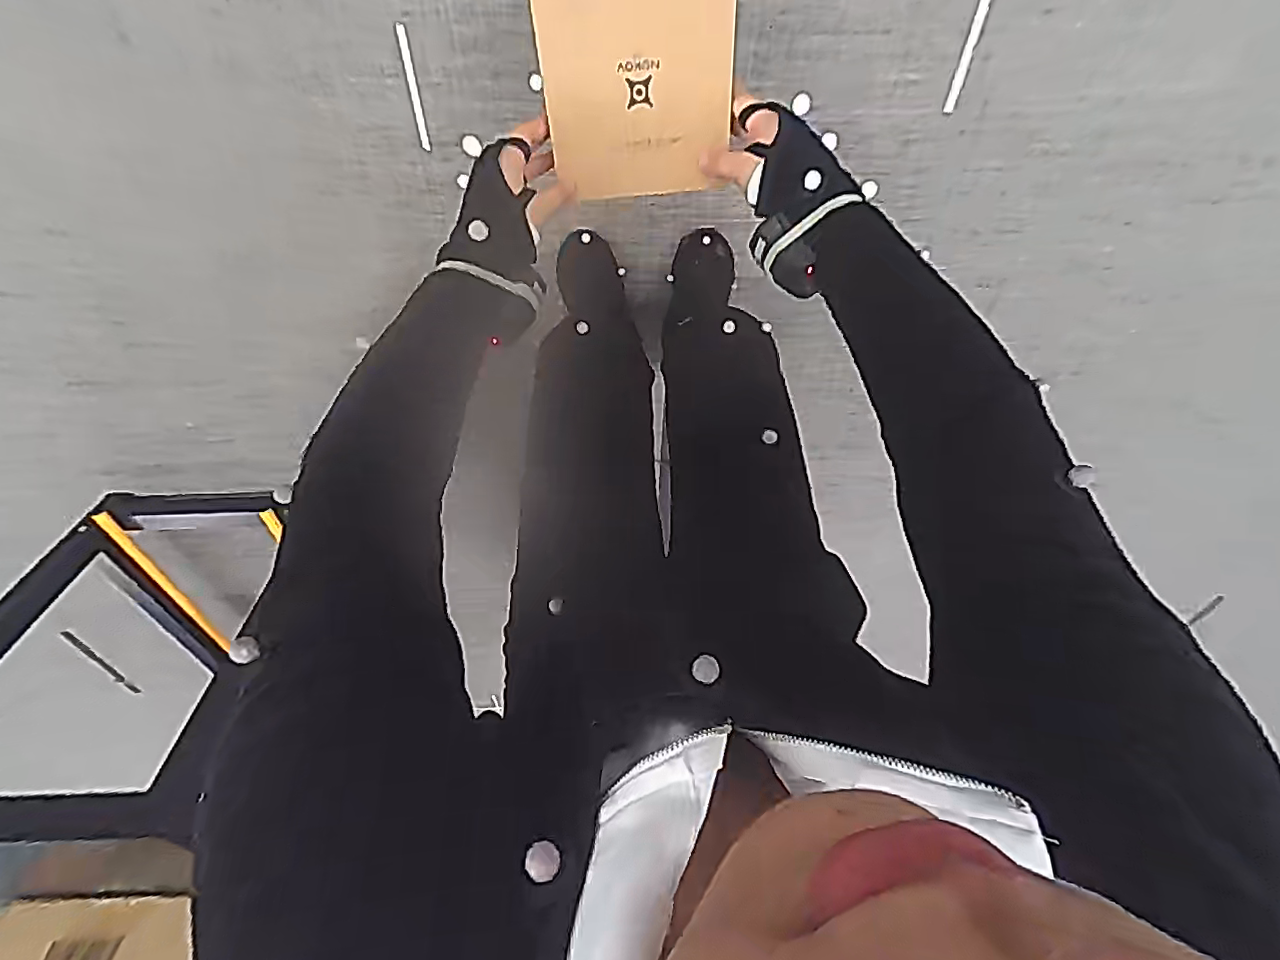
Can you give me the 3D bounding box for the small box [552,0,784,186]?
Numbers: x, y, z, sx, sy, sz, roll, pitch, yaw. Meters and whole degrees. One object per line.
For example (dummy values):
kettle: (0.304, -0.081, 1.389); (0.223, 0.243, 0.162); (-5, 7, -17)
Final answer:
small box: (0.014, -0.370, 0.449); (0.168, 0.176, 0.179); (-6, 135, 0)
